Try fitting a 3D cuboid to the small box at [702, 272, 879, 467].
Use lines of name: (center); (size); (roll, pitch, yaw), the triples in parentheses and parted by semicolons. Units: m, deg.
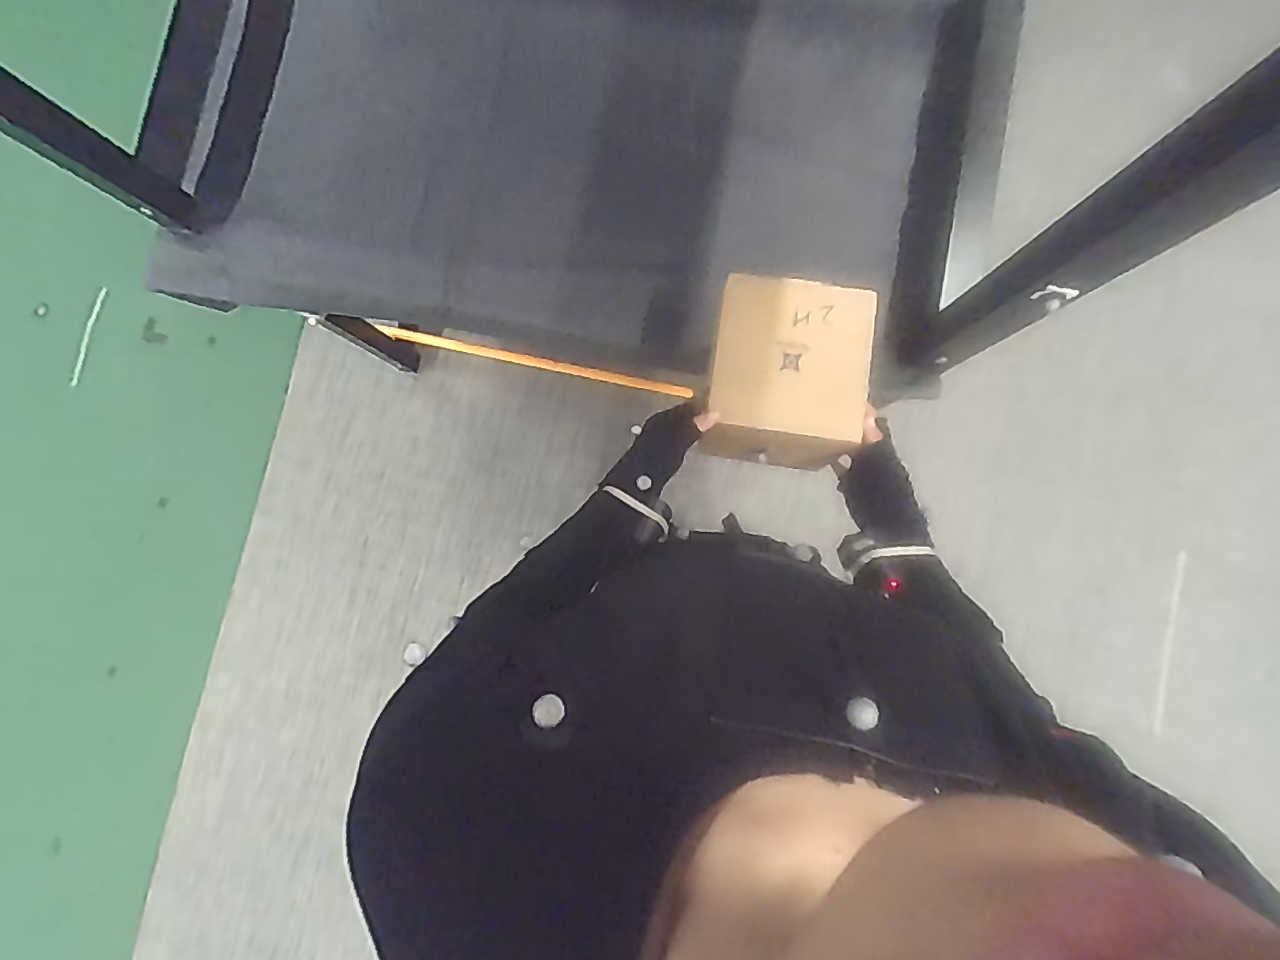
small box: (0.170, -0.122, 0.659); (0.168, 0.176, 0.179); (9, 80, 4)
